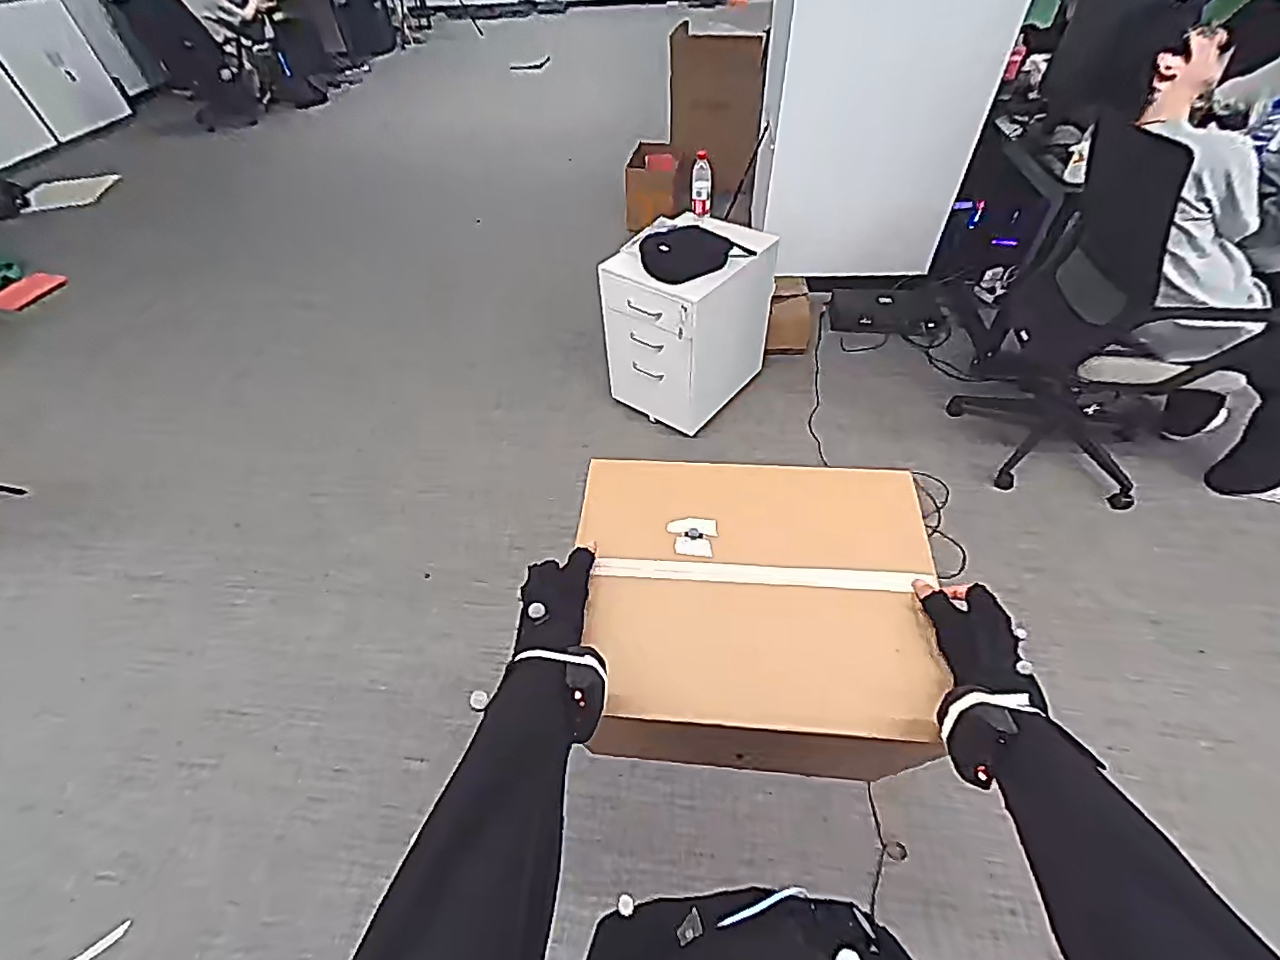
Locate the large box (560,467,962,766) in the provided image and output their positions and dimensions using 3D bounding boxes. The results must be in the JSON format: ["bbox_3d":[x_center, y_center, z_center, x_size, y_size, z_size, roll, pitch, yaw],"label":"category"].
[{"bbox_3d":[0.137,0.196,0.741,0.408,0.320,0.320,2,55,6],"label":"large box"}]
